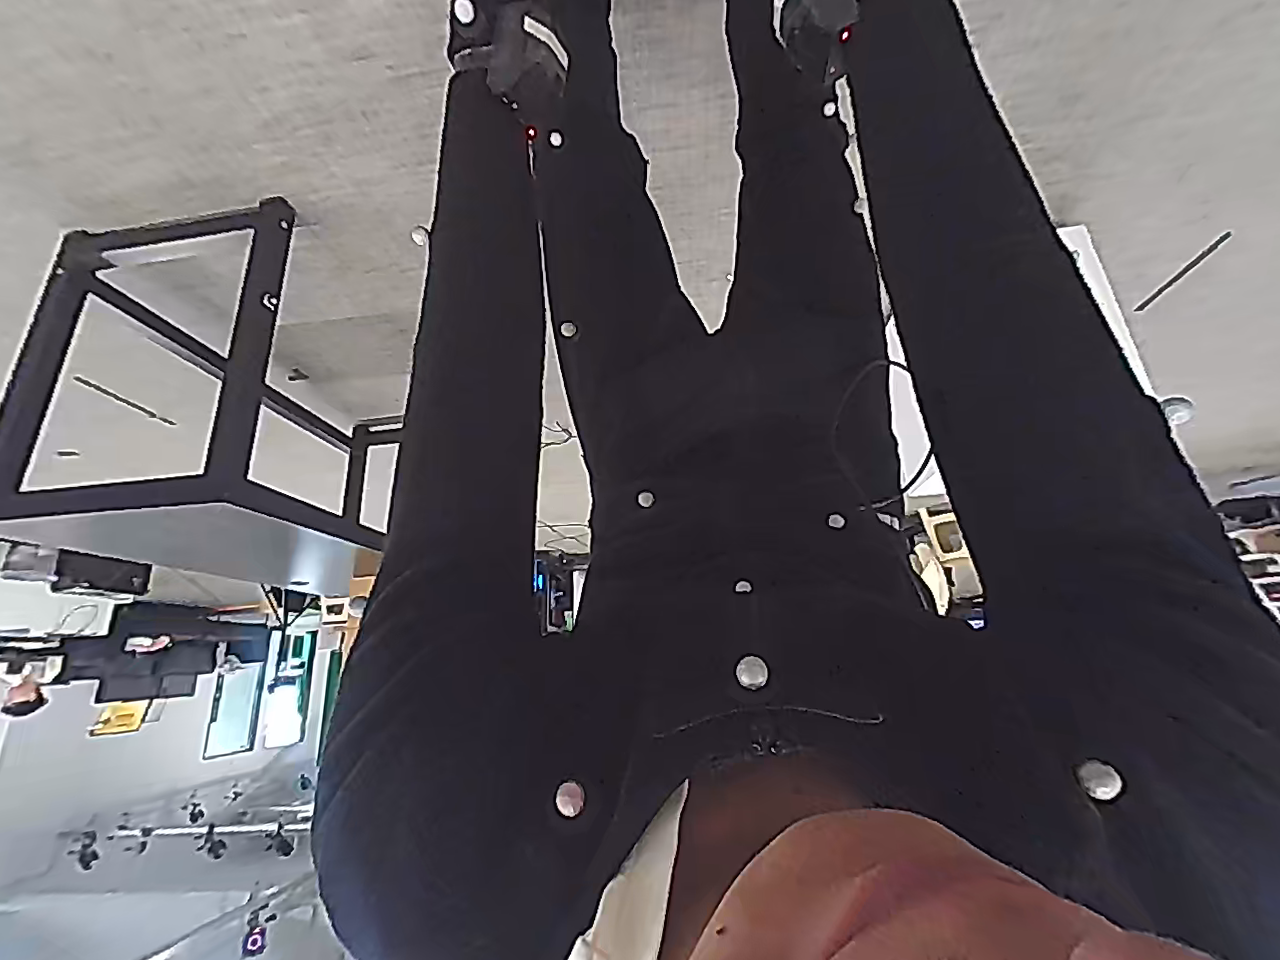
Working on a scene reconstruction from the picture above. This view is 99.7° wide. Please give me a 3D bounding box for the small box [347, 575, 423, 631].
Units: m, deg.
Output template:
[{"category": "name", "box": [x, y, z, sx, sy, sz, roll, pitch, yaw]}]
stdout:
[{"category": "small box", "box": [-0.848, 0.417, 1.814, 0.179, 0.176, 0.168, -6, 160, 7]}]
